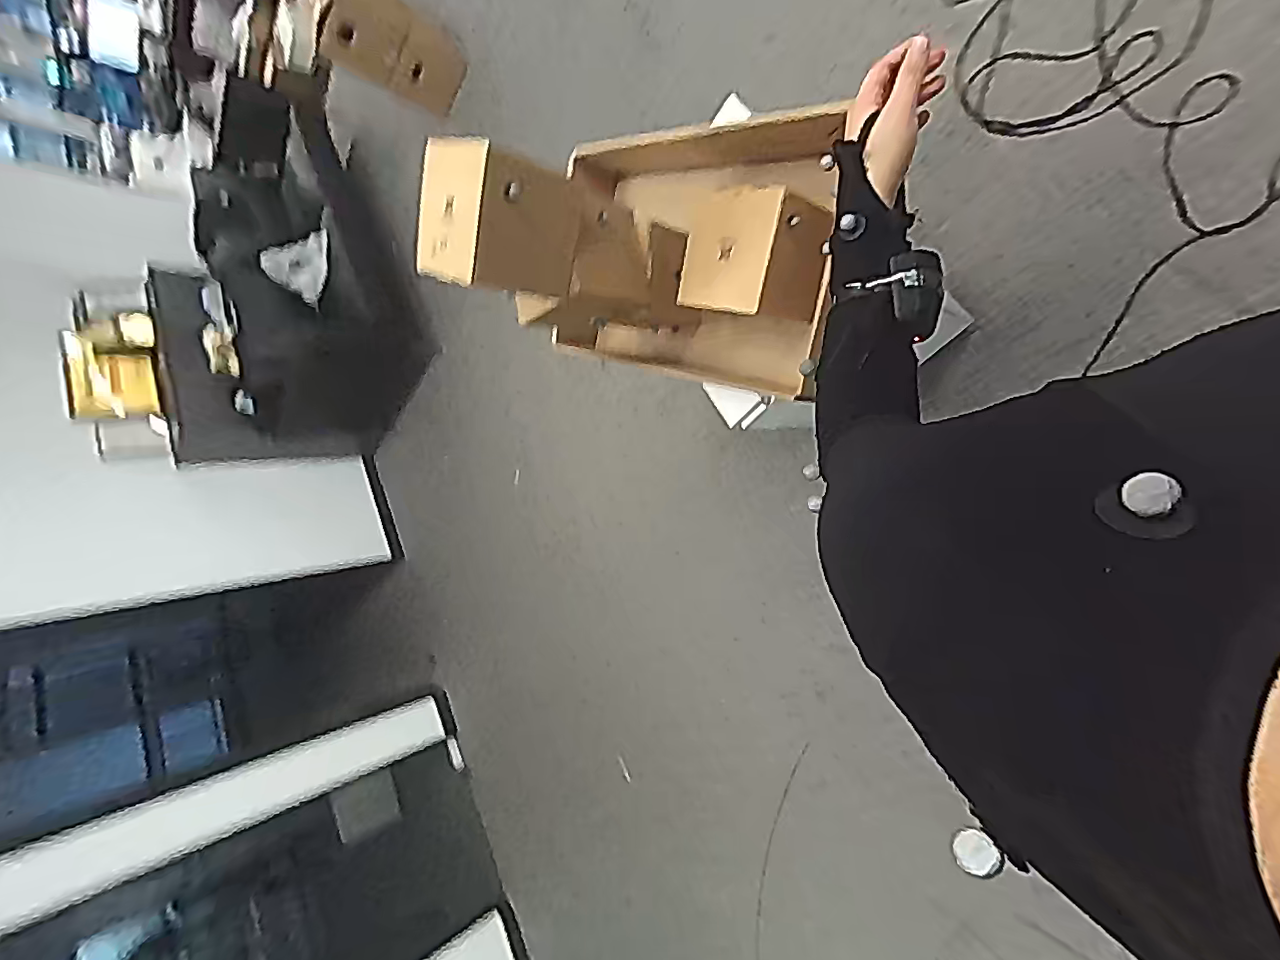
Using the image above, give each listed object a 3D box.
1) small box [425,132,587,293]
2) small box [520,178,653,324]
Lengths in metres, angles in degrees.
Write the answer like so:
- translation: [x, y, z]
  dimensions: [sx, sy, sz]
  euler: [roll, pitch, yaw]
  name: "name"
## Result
- translation: [-0.201, -0.397, 0.817]
  dimensions: [0.168, 0.176, 0.179]
  euler: [29, 115, 38]
  name: "small box"
- translation: [-0.100, -0.390, 0.950]
  dimensions: [0.168, 0.176, 0.179]
  euler: [-11, 90, 44]
  name: "small box"
